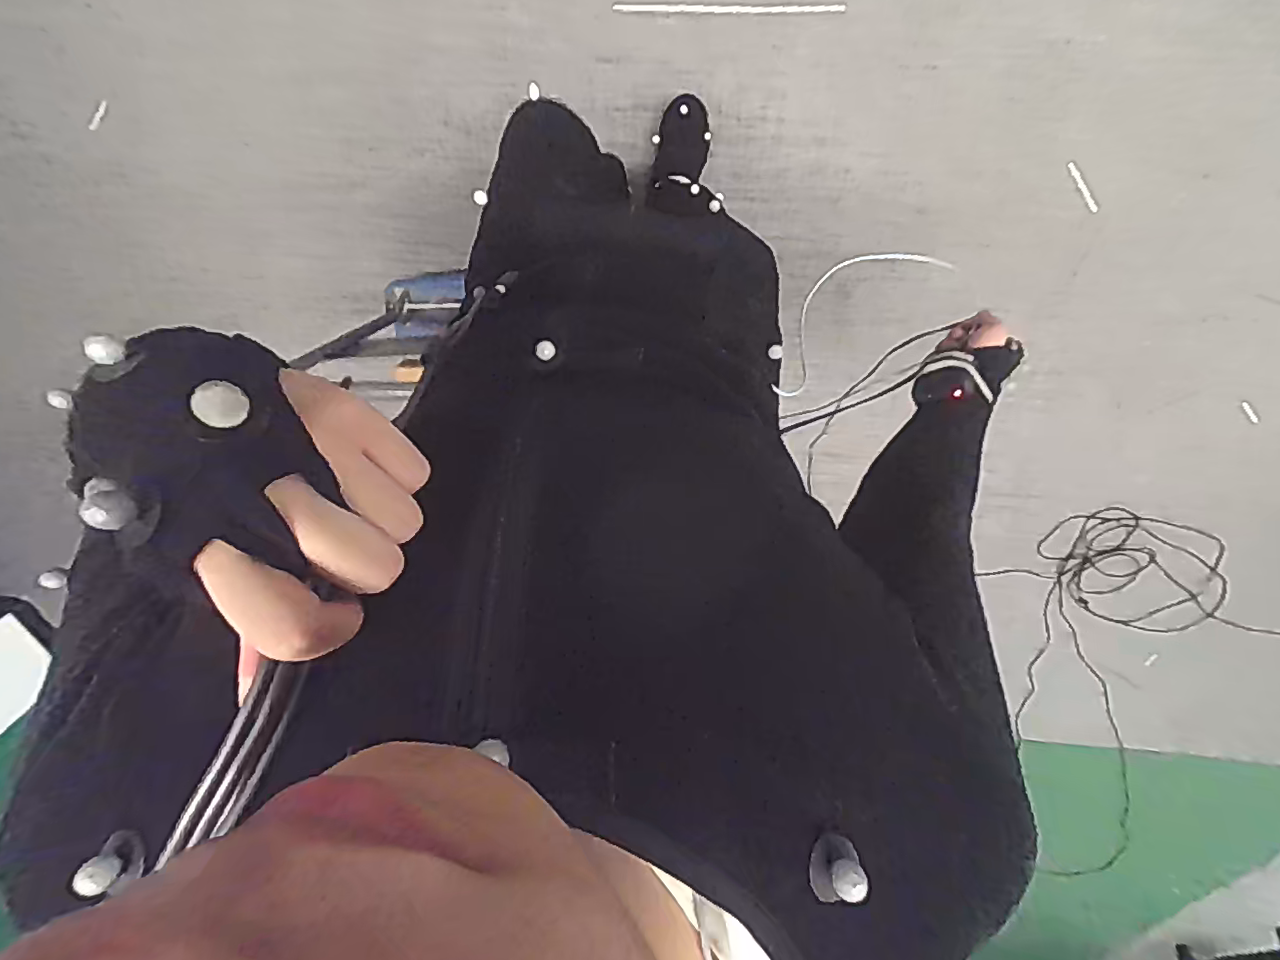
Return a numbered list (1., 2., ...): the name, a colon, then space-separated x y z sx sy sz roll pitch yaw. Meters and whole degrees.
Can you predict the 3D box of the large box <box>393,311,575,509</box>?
1. large box: -0.355 -0.180 1.362 0.320 0.320 0.408 2 125 5
